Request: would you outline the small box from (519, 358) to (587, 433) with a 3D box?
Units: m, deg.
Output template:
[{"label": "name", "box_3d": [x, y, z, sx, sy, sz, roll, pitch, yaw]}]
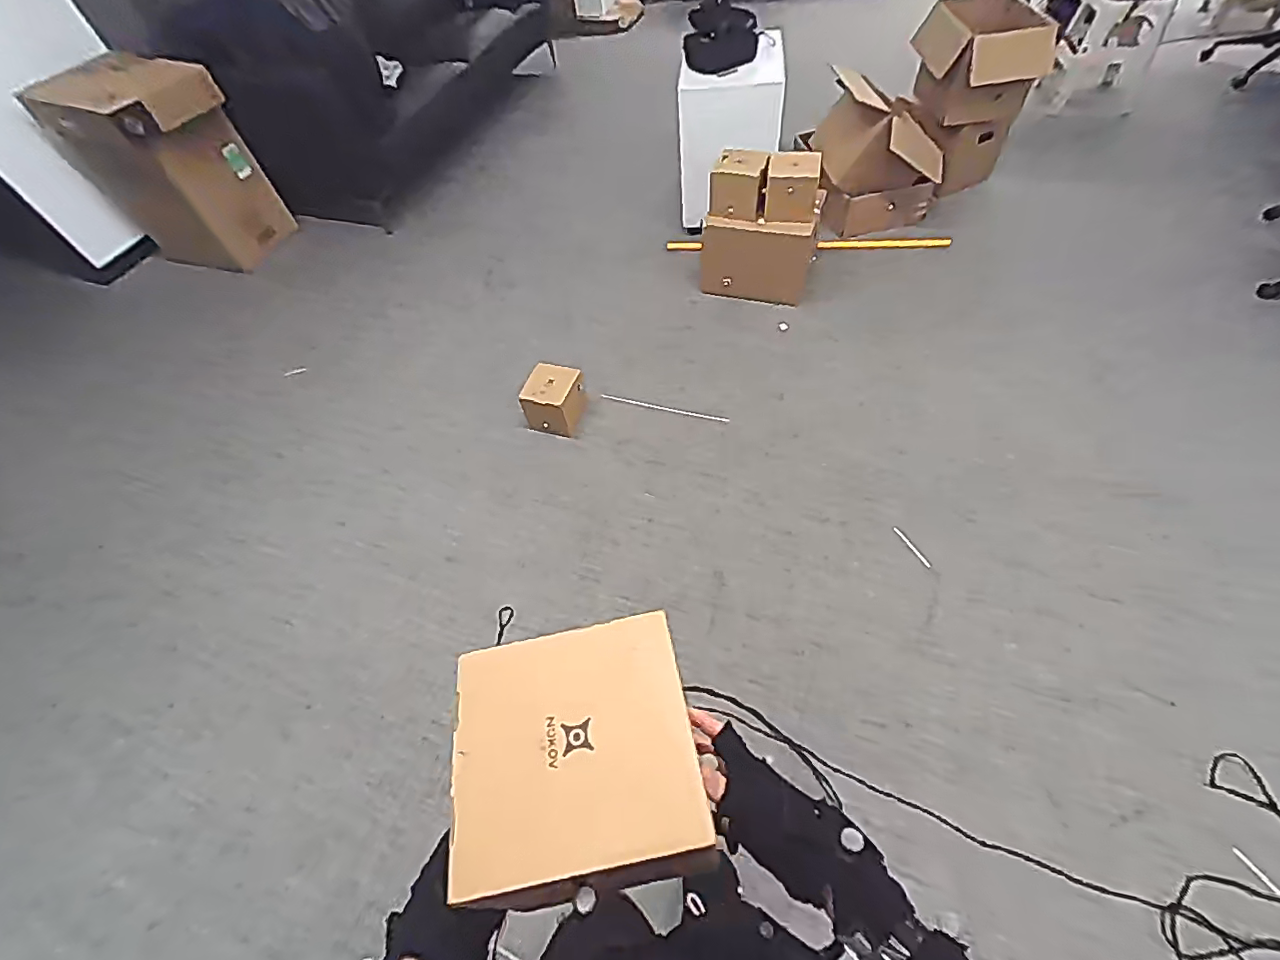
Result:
[{"label": "small box", "box_3d": [-0.294, -0.294, 1.890, 0.168, 0.176, 0.179, 13, 59, 16]}]

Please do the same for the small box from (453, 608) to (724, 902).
[{"label": "small box", "box_3d": [-0.035, 0.230, 0.449, 0.179, 0.176, 0.168, -12, 51, 0]}]
